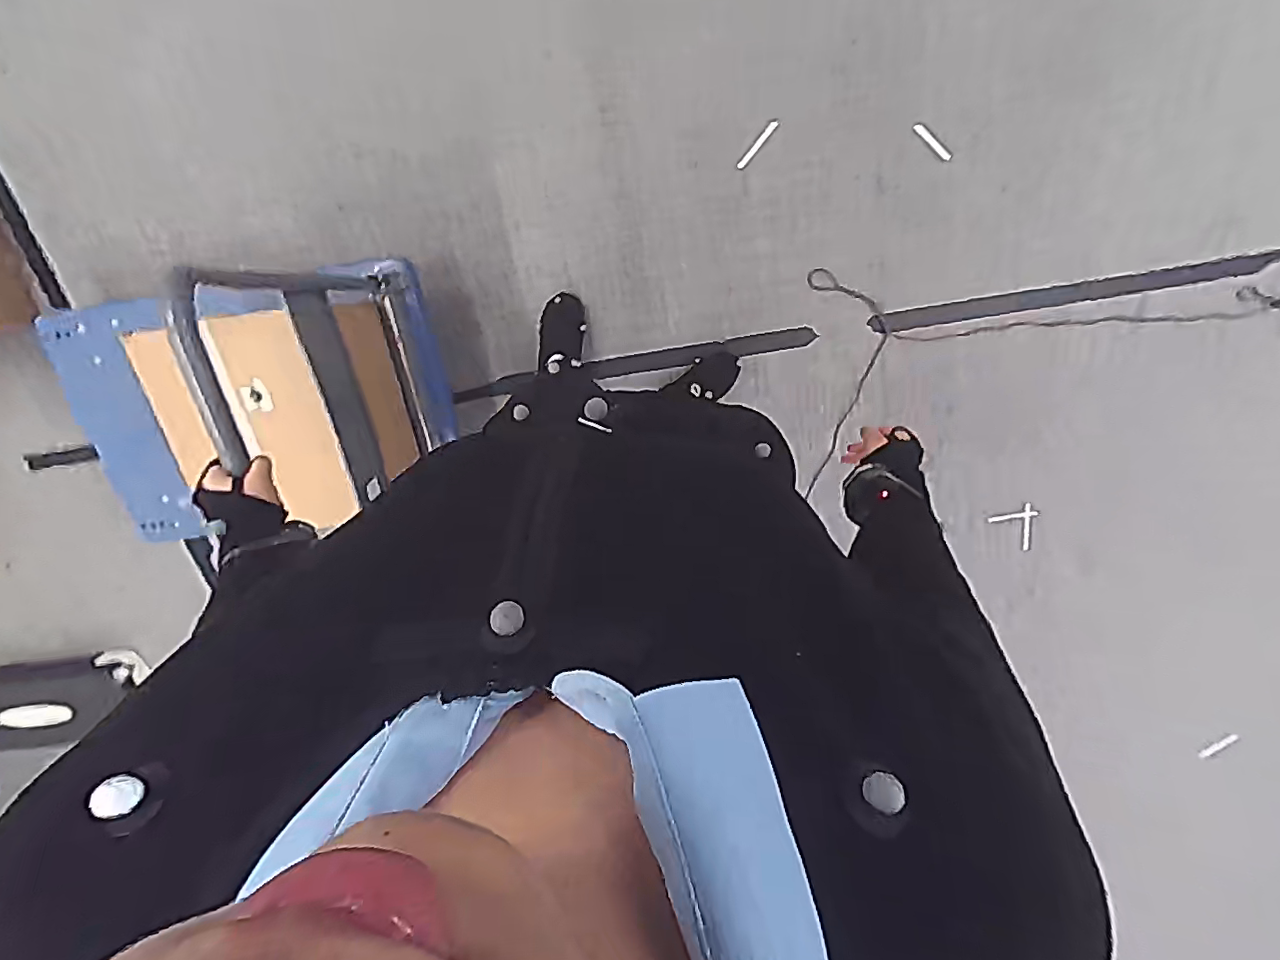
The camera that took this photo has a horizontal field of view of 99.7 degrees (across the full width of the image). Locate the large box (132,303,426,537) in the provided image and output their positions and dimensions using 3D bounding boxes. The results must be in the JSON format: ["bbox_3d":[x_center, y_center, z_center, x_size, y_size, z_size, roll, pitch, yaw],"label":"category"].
[{"bbox_3d":[-0.706,-0.139,1.139,0.320,0.320,0.408,-8,109,3],"label":"large box"}]
